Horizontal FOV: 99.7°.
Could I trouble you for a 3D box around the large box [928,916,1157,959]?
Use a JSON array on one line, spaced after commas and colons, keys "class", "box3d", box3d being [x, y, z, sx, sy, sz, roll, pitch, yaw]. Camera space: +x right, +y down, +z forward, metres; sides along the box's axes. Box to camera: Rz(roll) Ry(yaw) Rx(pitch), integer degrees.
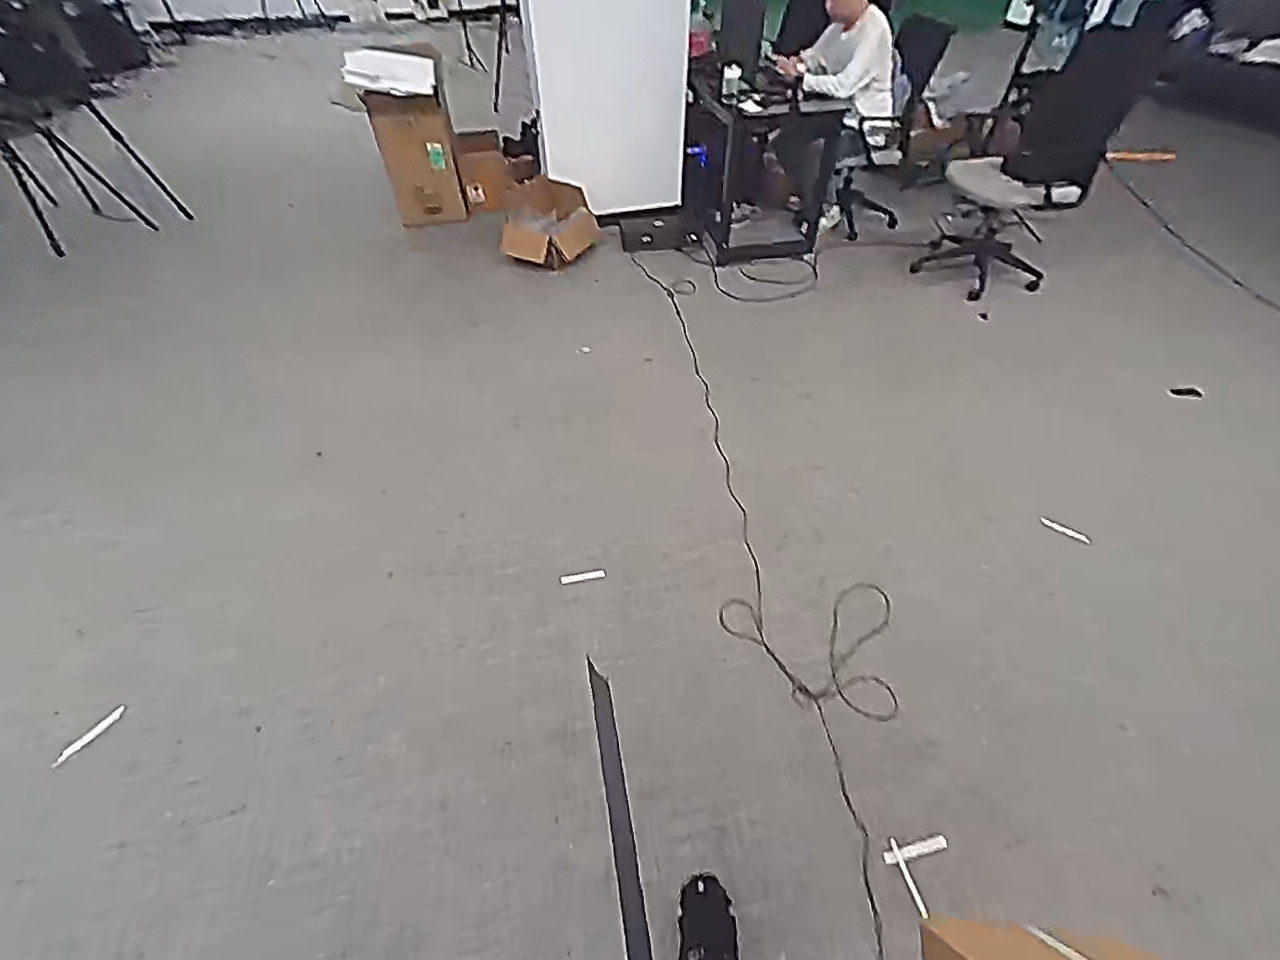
[{"class": "large box", "box3d": [0.555, 0.740, 0.564, 0.320, 0.408, 0.320, 4, 69, 4]}]
